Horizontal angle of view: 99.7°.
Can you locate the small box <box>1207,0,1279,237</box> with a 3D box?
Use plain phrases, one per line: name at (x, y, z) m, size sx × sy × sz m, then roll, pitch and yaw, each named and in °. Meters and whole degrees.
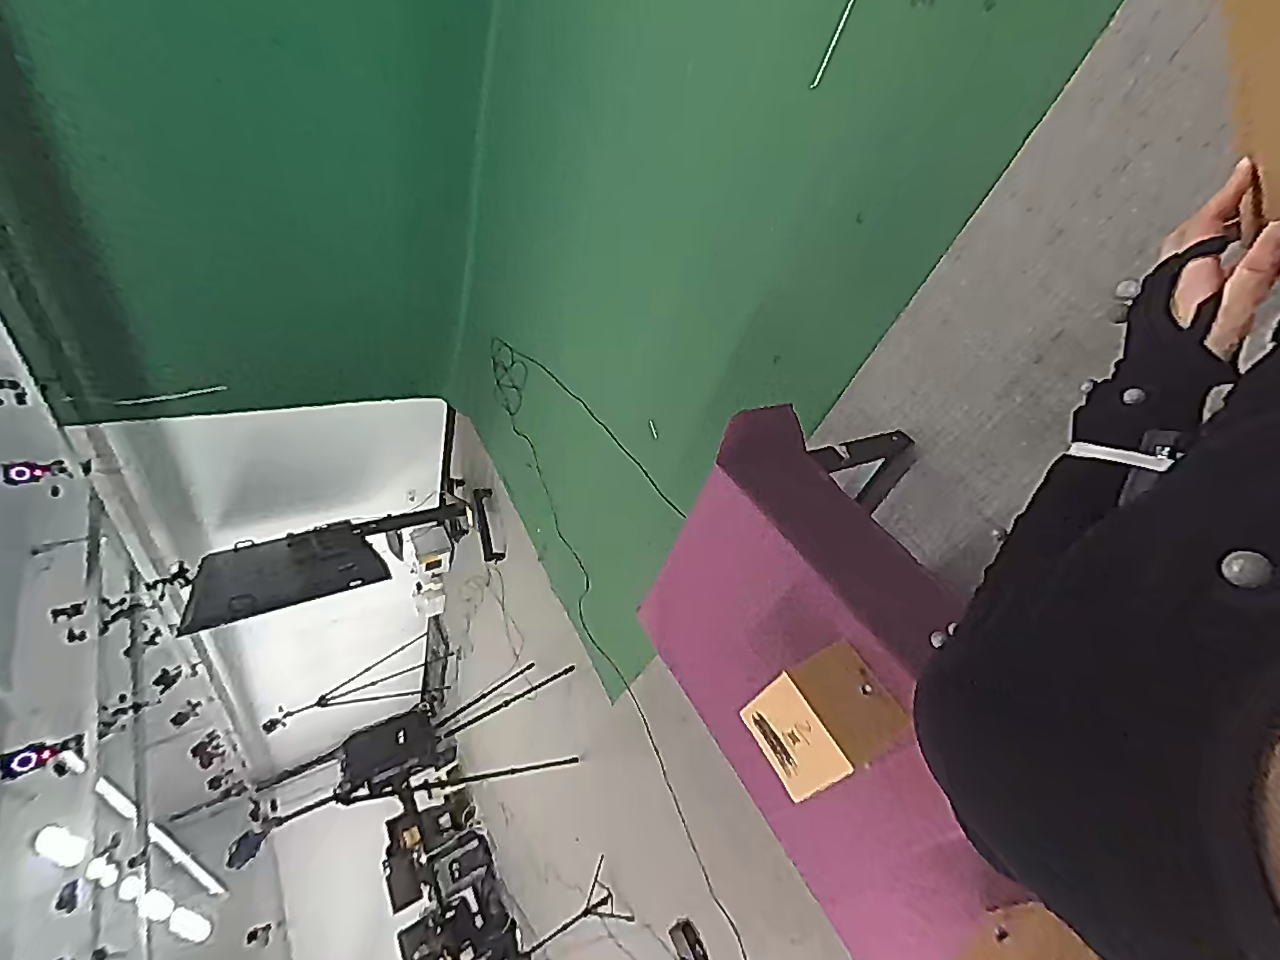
small box at (0.420, -0.230, 0.262) m, size 0.168 × 0.176 × 0.179 m, roll -13°, pitch 113°, yaw 37°
